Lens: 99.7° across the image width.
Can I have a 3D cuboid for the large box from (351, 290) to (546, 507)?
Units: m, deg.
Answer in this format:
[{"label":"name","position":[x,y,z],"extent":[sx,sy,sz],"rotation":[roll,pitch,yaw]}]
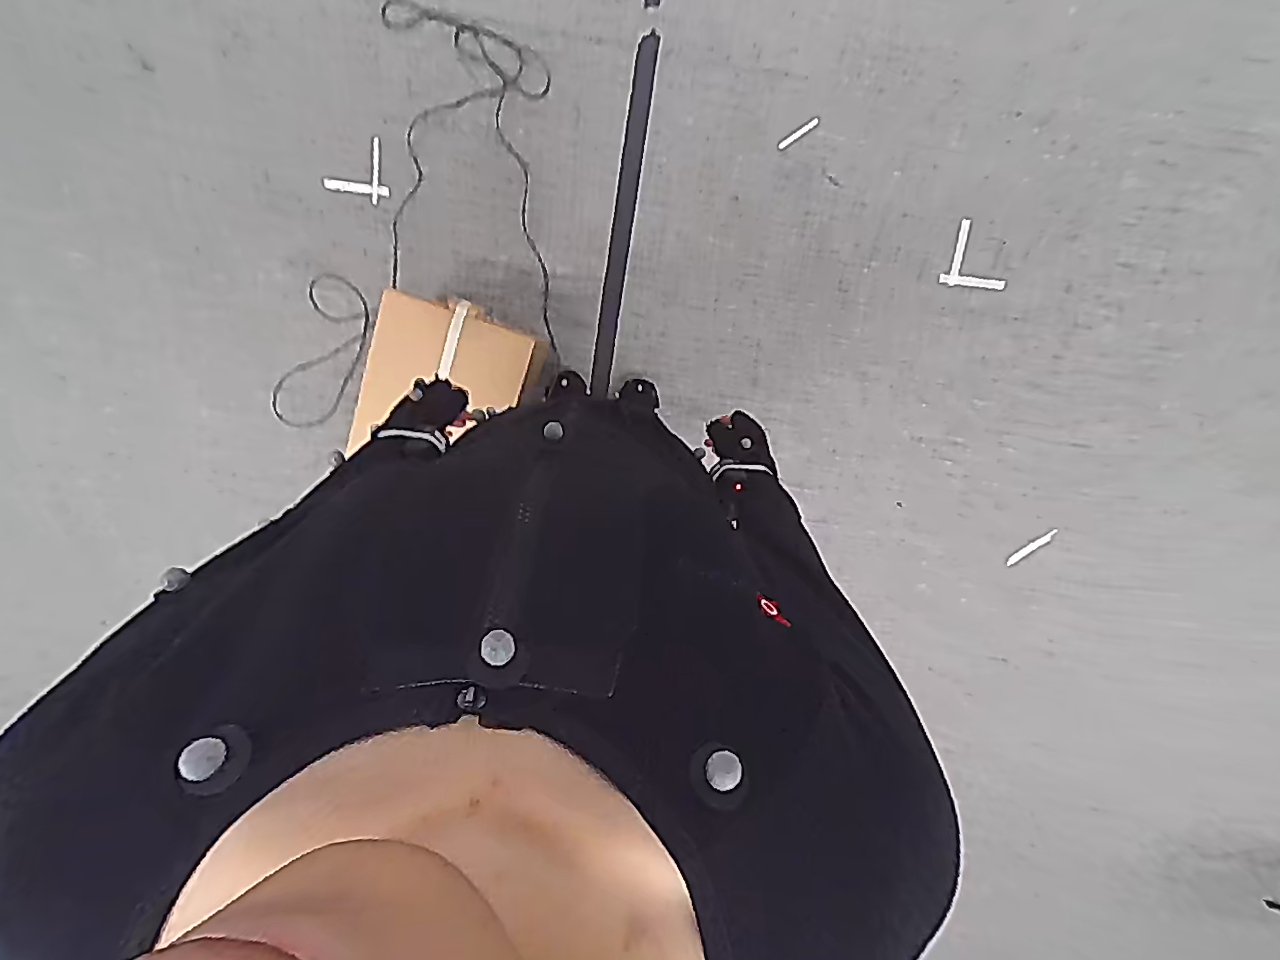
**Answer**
[{"label":"large box","position":[-0.438,-0.203,1.301],"extent":[0.320,0.320,0.408],"rotation":[18,104,-7]}]
